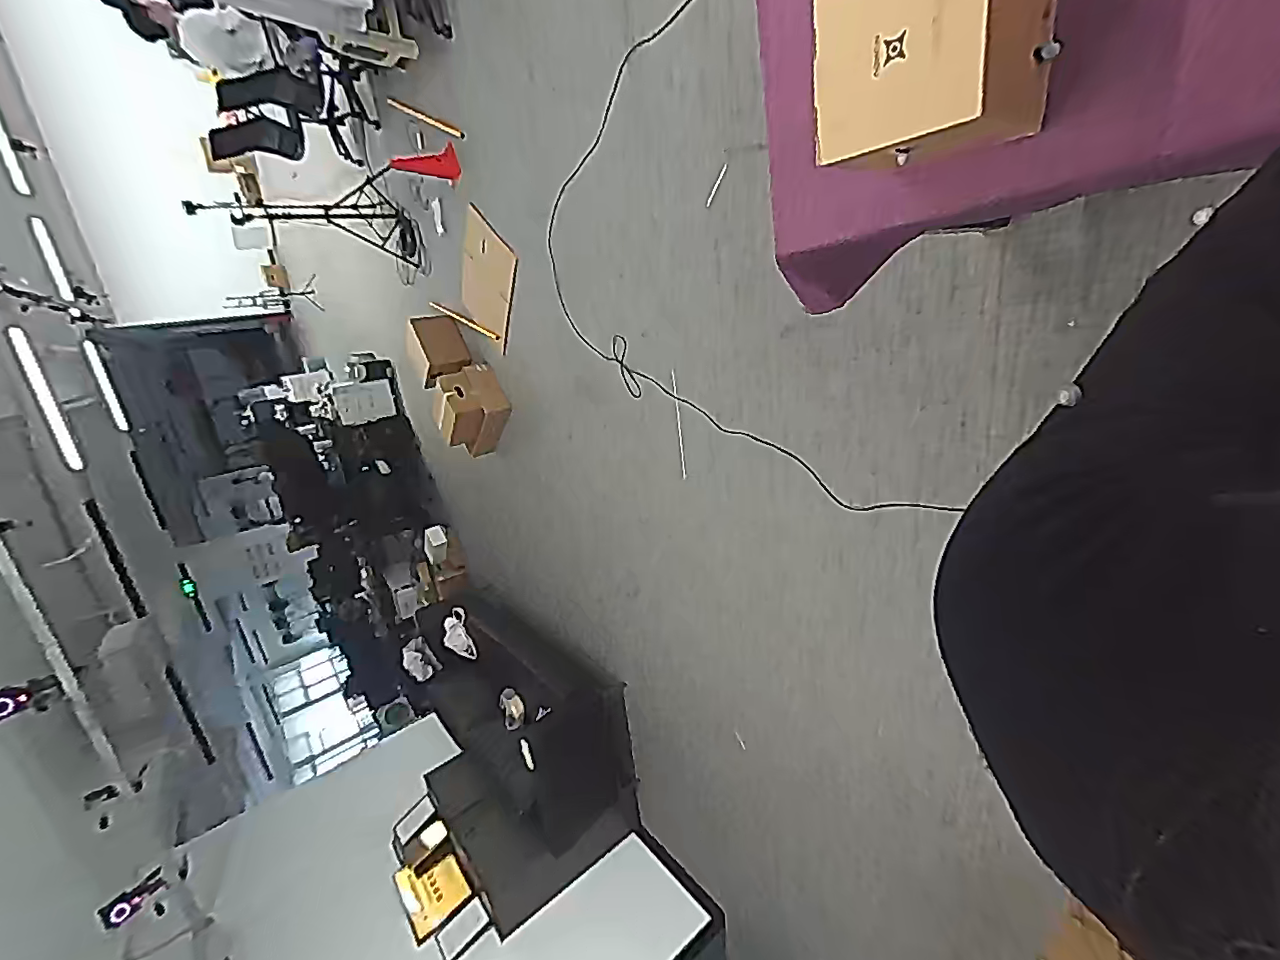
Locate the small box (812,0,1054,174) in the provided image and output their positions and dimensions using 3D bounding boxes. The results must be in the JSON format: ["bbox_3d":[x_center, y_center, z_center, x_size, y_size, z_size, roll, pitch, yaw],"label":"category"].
[{"bbox_3d":[0.310,-0.444,0.585,0.179,0.176,0.168,15,119,49],"label":"small box"}]
